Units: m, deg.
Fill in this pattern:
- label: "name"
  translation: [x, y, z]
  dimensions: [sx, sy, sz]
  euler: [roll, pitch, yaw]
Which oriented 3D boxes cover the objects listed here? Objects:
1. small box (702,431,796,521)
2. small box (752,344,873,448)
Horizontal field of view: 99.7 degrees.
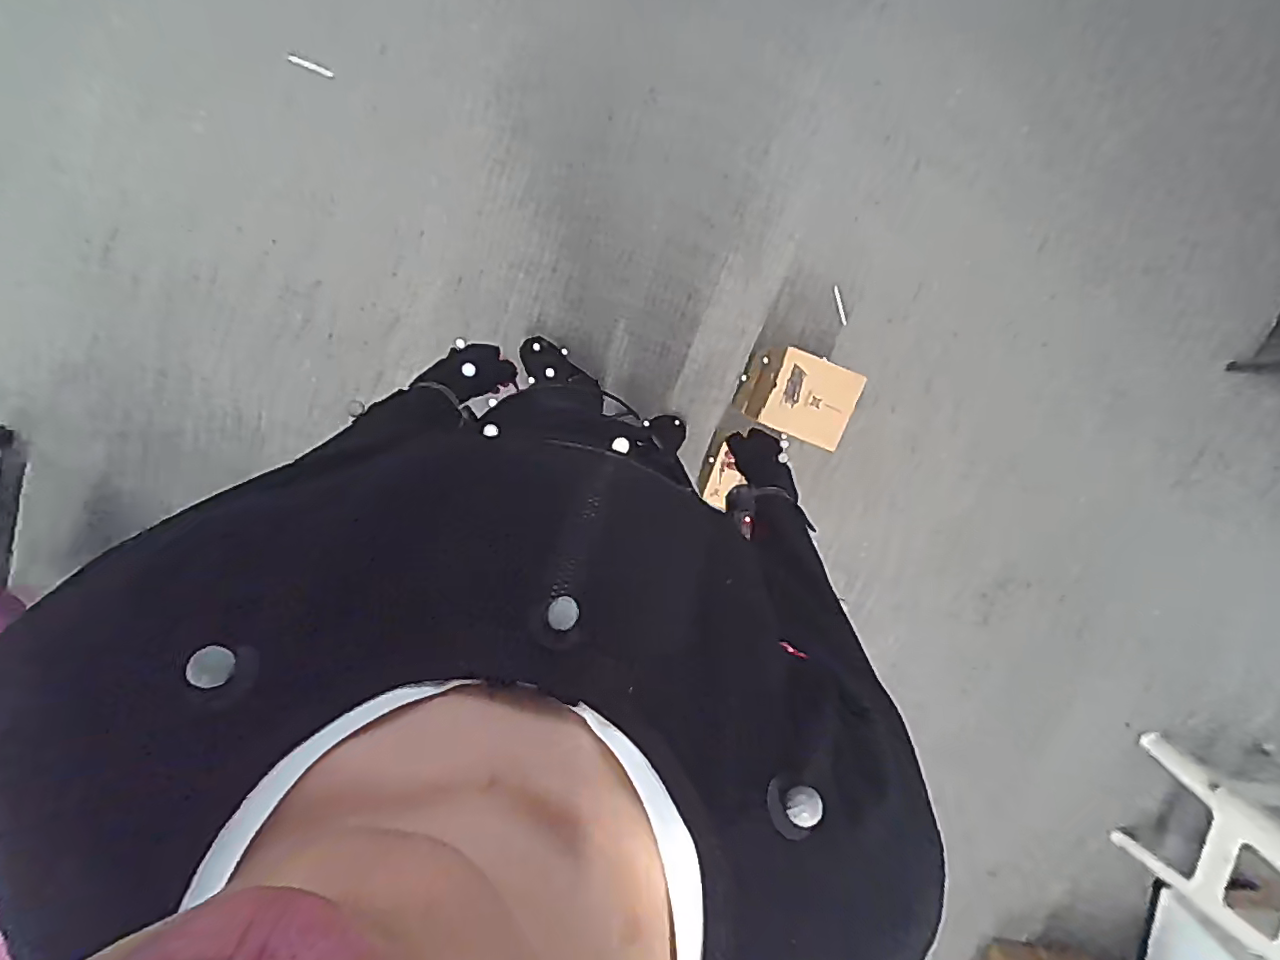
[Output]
- label: "small box"
  translation: [0.269, -0.018, 1.382]
  dimensions: [0.179, 0.176, 0.168]
  euler: [20, 102, -2]
- label: "small box"
  translation: [0.362, -0.183, 1.176]
  dimensions: [0.179, 0.176, 0.168]
  euler: [21, 102, -3]
